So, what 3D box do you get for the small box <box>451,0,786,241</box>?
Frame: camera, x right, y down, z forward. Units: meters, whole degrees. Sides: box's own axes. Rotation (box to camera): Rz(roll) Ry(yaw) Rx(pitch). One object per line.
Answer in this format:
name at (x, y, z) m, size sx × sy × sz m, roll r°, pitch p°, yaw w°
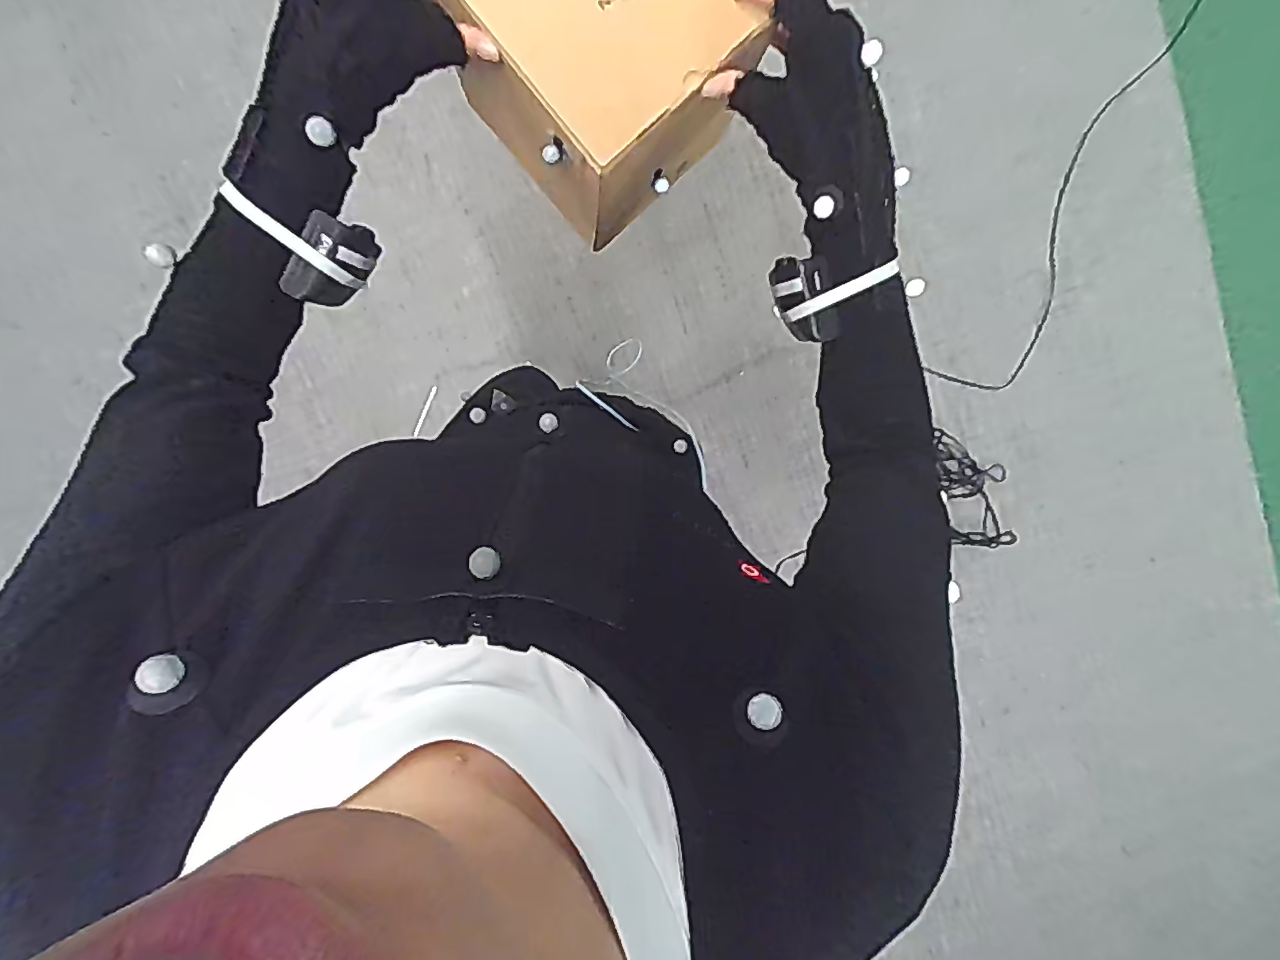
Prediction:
small box at (-0.028, -0.327, 0.424) m, size 0.168 × 0.176 × 0.179 m, roll -42°, pitch 100°, yaw -1°
